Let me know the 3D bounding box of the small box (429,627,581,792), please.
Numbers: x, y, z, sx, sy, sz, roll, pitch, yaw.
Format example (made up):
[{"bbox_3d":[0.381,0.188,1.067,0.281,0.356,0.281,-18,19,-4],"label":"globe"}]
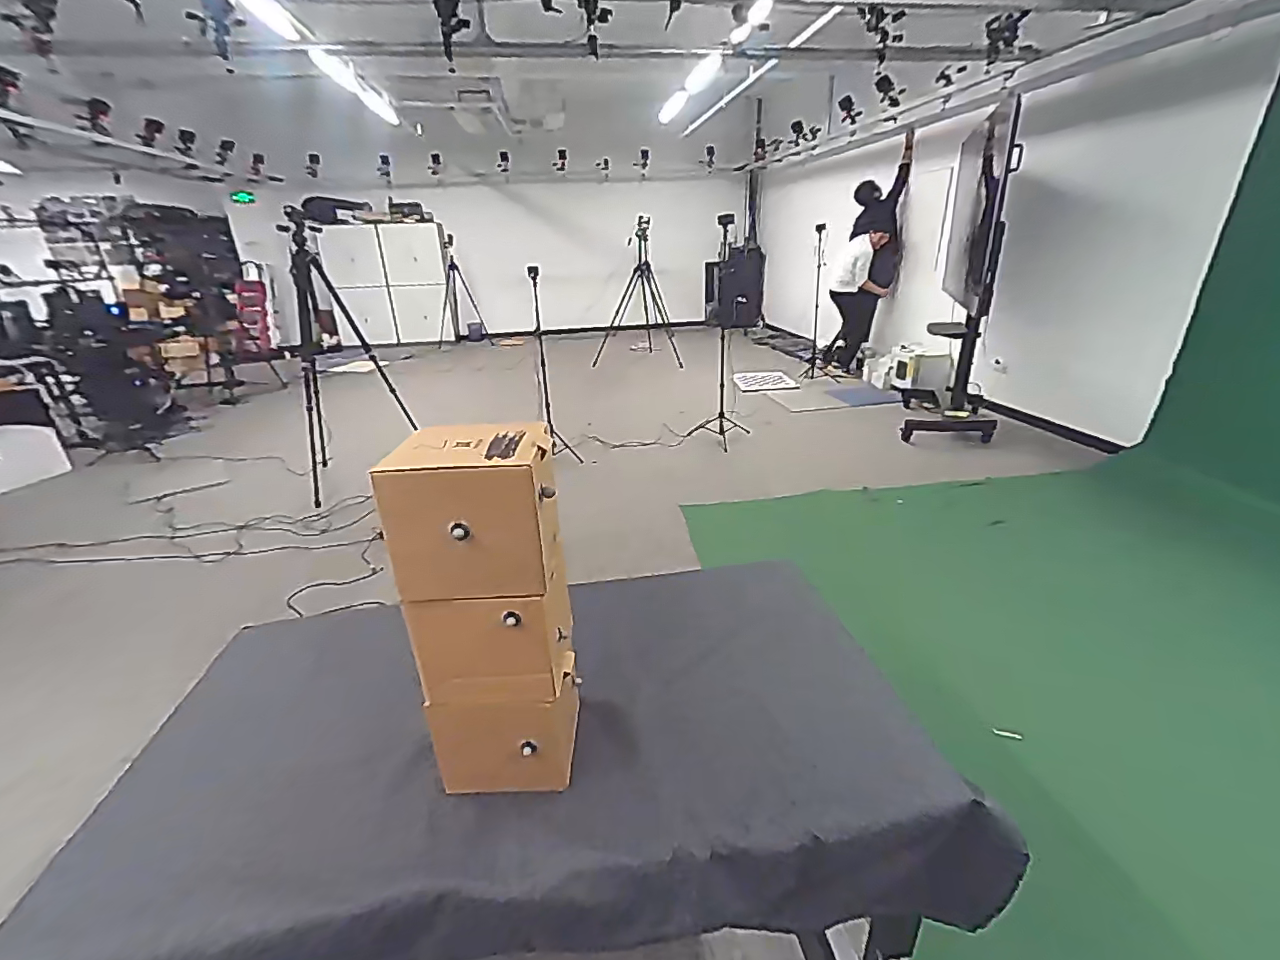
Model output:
[{"bbox_3d":[-0.185,0.335,0.806,0.179,0.176,0.168,-3,22,1],"label":"small box"}]

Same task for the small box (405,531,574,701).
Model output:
[{"bbox_3d":[-0.192,0.184,0.746,0.179,0.176,0.168,-1,22,1],"label":"small box"}]
